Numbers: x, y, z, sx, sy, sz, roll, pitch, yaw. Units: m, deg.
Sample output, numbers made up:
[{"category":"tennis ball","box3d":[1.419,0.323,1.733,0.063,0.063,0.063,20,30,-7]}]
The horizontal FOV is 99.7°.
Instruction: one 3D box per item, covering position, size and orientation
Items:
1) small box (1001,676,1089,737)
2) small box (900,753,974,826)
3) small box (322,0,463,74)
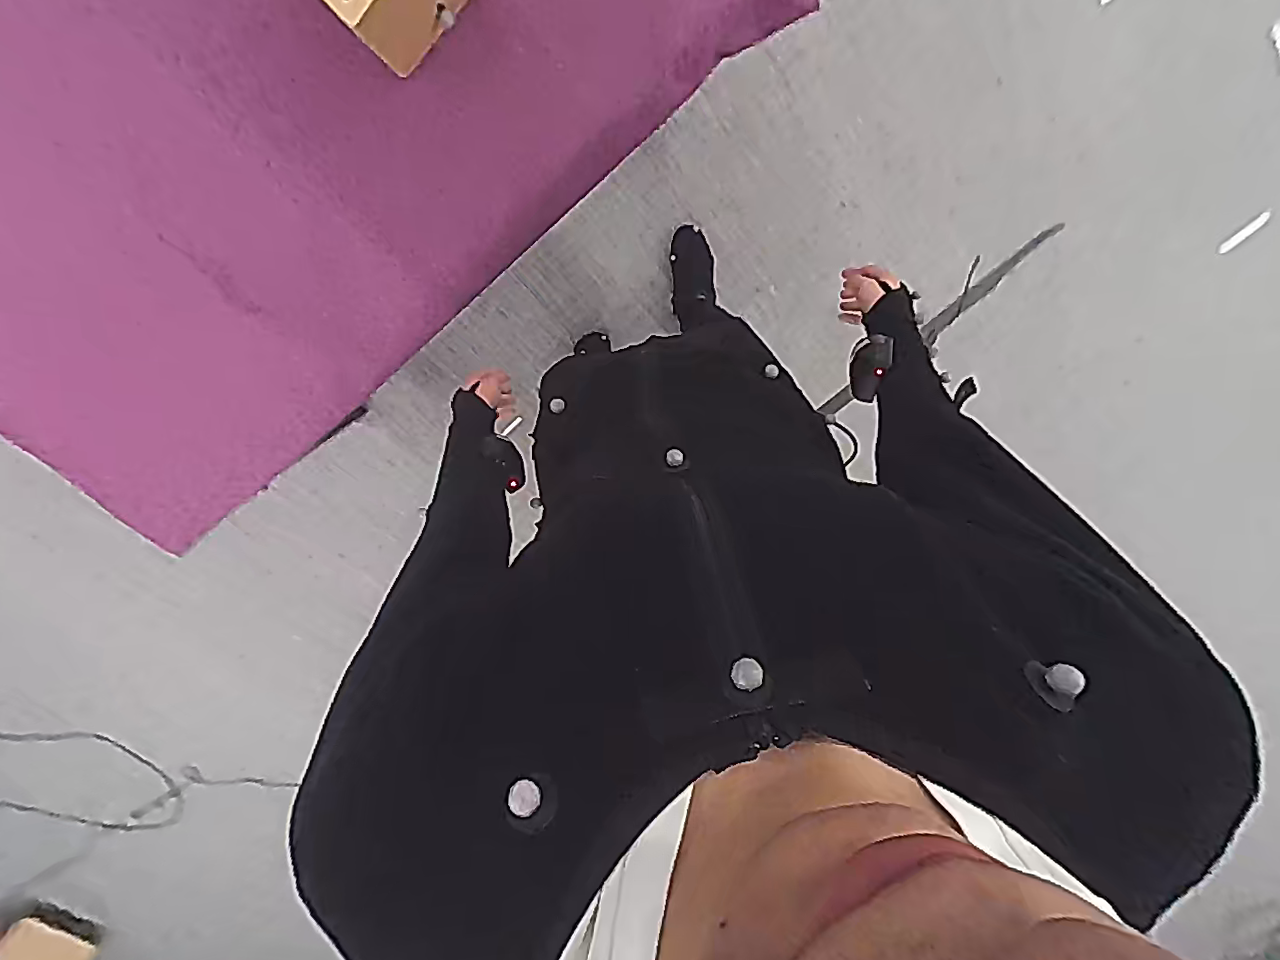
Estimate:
[{"category":"small box","box3d":[1.566,0.899,2.100,0.179,0.176,0.168,34,104,-16]},{"category":"small box","box3d":[1.209,1.261,2.212,0.179,0.176,0.168,-40,110,11]},{"category":"small box","box3d":[-0.287,-0.582,0.561,0.179,0.176,0.168,-44,108,11]}]
